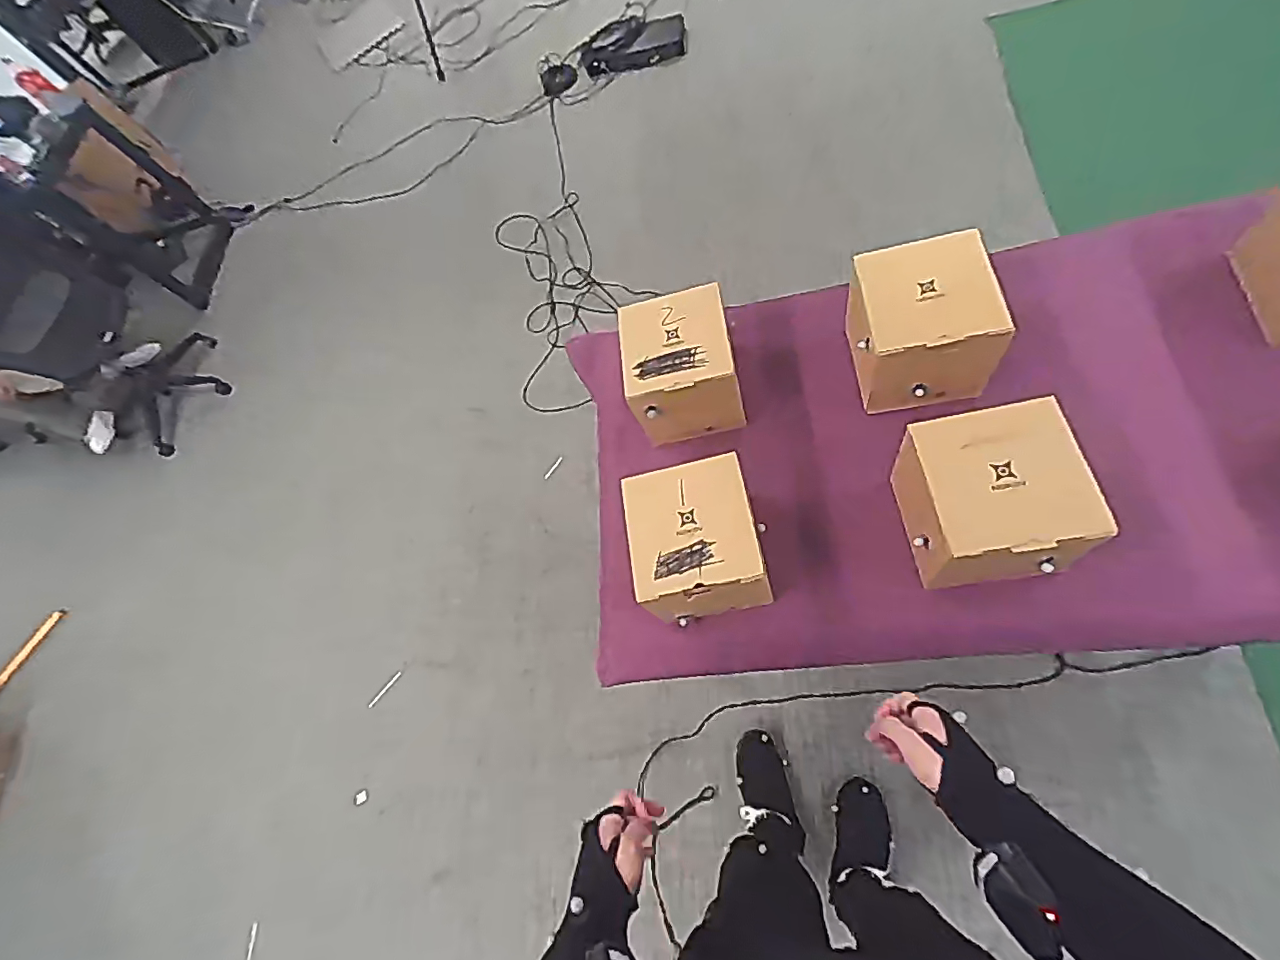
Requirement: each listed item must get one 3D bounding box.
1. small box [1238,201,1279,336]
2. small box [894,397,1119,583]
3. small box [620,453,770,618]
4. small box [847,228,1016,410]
[{"bbox_3d":[0.908,-0.294,0.660,0.168,0.176,0.179,-4,68,17],"label":"small box"},{"bbox_3d":[0.435,0.026,0.680,0.168,0.176,0.179,-11,64,12],"label":"small box"},{"bbox_3d":[0.082,0.090,0.764,0.168,0.176,0.179,-14,63,11],"label":"small box"},{"bbox_3d":[0.409,-0.227,0.796,0.168,0.176,0.179,-9,67,14],"label":"small box"}]
